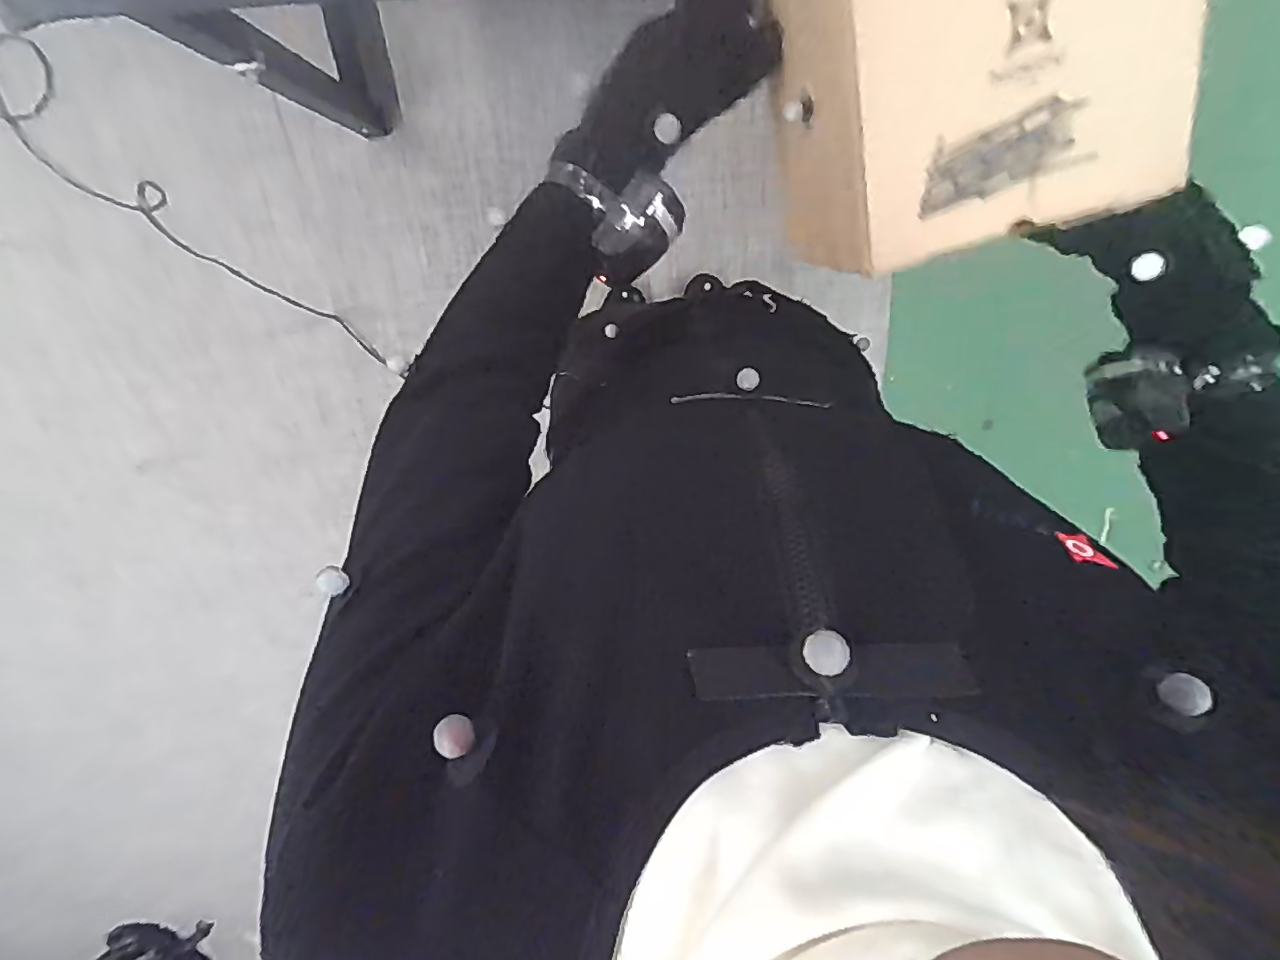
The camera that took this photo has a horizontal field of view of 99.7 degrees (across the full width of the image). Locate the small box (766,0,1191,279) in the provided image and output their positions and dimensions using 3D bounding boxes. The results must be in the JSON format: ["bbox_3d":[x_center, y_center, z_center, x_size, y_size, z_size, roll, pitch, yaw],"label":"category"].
[{"bbox_3d":[0.187,-0.244,0.345,0.168,0.176,0.179,-13,114,5],"label":"small box"}]
